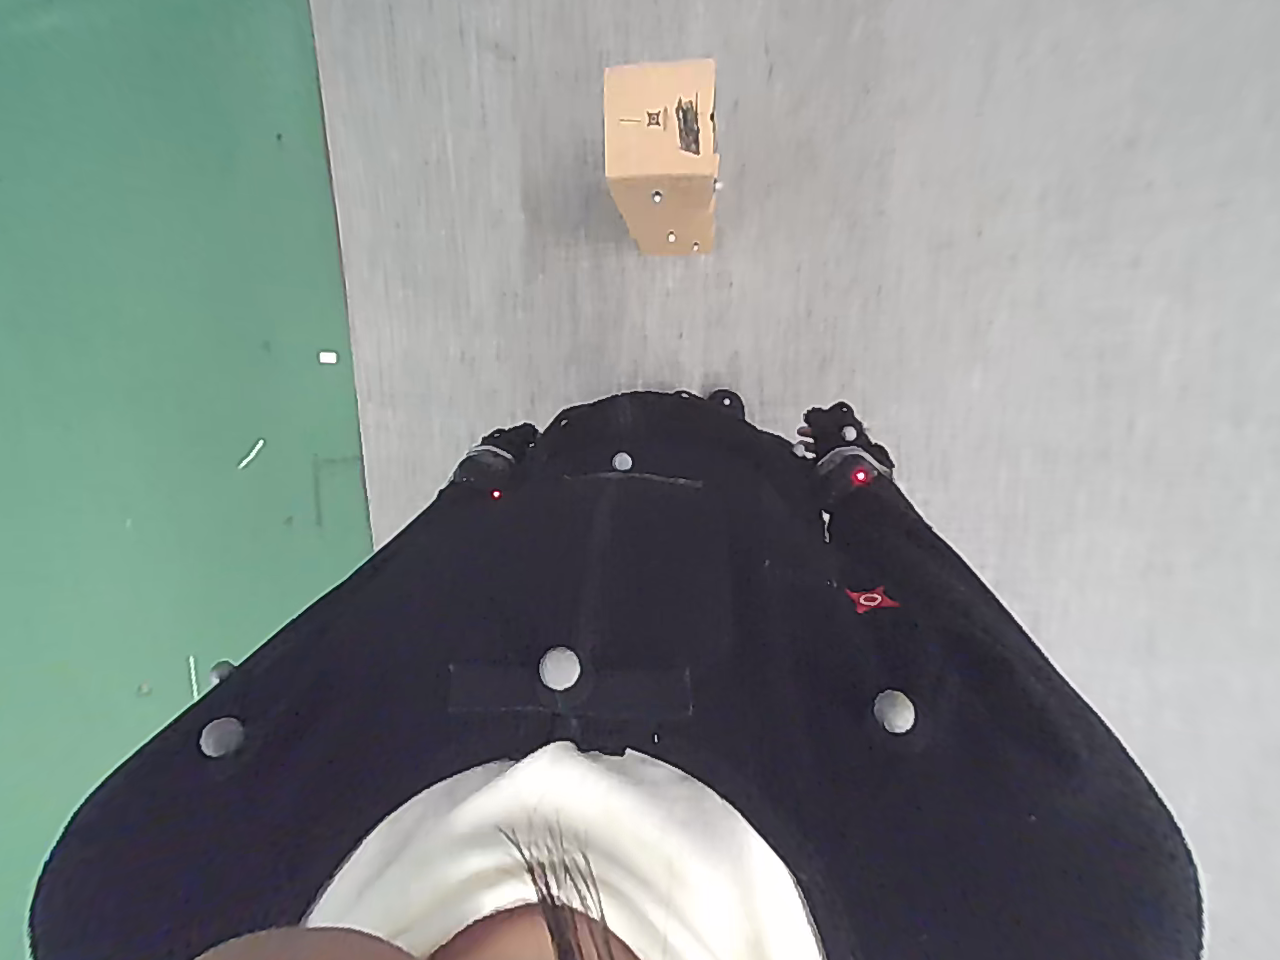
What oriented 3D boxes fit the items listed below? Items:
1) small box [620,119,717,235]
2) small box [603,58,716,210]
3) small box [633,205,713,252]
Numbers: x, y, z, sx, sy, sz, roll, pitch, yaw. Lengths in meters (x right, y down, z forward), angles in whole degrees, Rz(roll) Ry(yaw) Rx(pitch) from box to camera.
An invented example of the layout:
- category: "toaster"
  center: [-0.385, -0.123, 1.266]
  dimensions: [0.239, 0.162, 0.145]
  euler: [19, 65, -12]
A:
- category: "small box"
  center: [0.059, -0.602, 1.086]
  dimensions: [0.179, 0.176, 0.168]
  euler: [3, 100, 6]
- category: "small box"
  center: [0.037, -0.577, 0.924]
  dimensions: [0.179, 0.176, 0.168]
  euler: [-1, 99, 6]
- category: "small box"
  center: [0.079, -0.635, 1.245]
  dimensions: [0.179, 0.176, 0.168]
  euler: [0, 99, 8]
